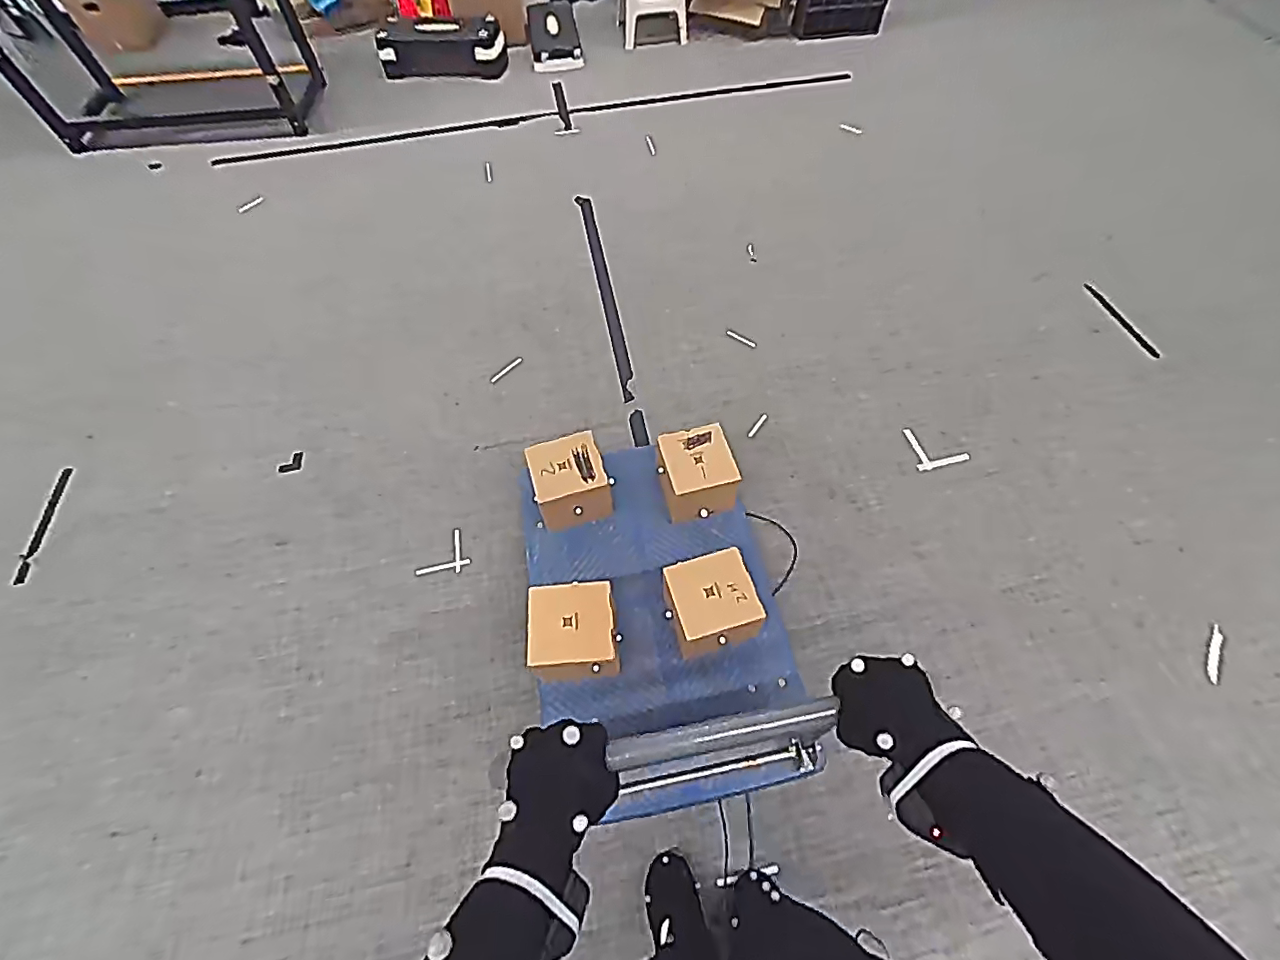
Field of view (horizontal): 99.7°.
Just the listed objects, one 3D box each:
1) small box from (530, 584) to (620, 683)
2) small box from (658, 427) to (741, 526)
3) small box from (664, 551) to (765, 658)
[{"bbox_3d":[-0.140,0.343,1.192,0.179,0.176,0.168,-5,59,-3],"label":"small box"},{"bbox_3d":[0.144,-0.006,1.389,0.168,0.176,0.179,-13,61,-6],"label":"small box"},{"bbox_3d":[0.159,0.285,1.215,0.179,0.176,0.168,-15,60,-7],"label":"small box"}]
